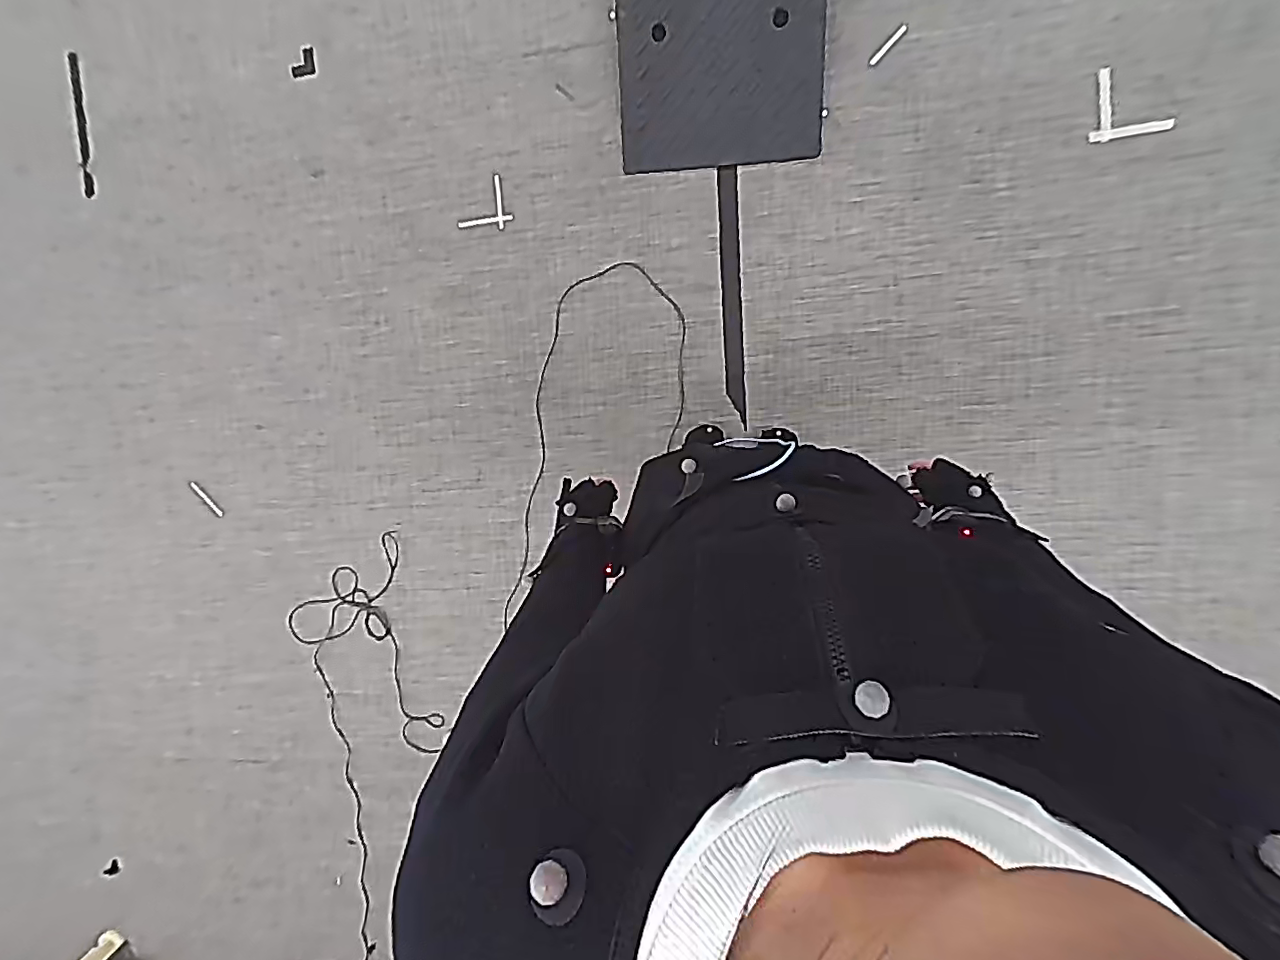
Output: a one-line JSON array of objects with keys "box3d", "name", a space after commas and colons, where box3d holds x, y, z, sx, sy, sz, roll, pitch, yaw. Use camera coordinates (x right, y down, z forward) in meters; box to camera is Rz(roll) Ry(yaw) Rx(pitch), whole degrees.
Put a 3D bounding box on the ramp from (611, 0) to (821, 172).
[{"box3d": [0.167, -1.275, 1.223, 0.509, 0.206, 0.991, -3, 96, 7], "name": "ramp"}]
